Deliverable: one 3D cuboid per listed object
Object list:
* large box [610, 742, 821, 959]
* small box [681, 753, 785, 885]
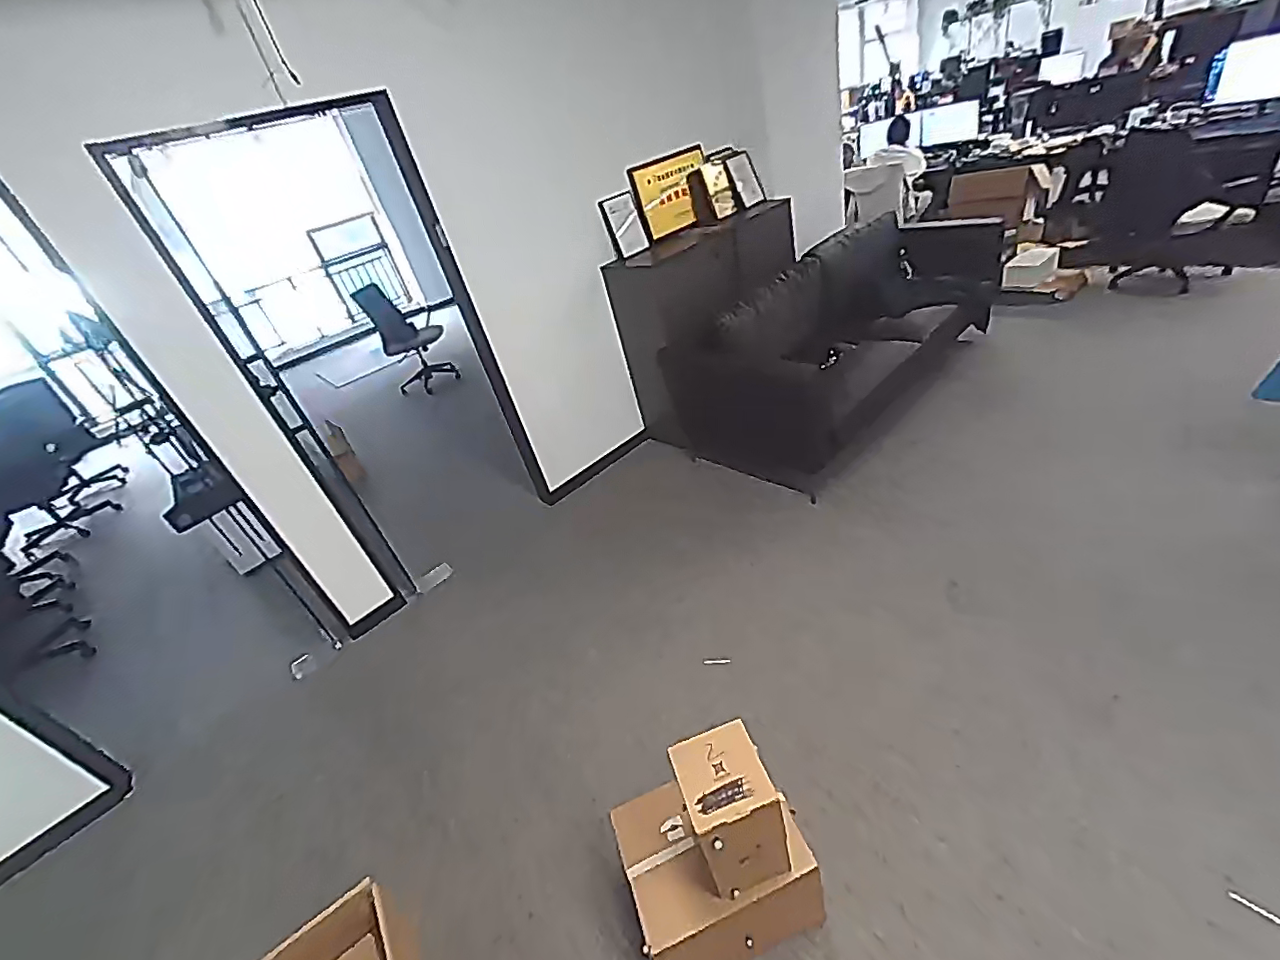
[{"bbox_3d":[0.187,0.950,1.350,0.408,0.320,0.320,-22,33,-8],"label":"large box"},{"bbox_3d":[0.206,0.750,1.188,0.168,0.176,0.179,-19,34,-6],"label":"small box"}]
